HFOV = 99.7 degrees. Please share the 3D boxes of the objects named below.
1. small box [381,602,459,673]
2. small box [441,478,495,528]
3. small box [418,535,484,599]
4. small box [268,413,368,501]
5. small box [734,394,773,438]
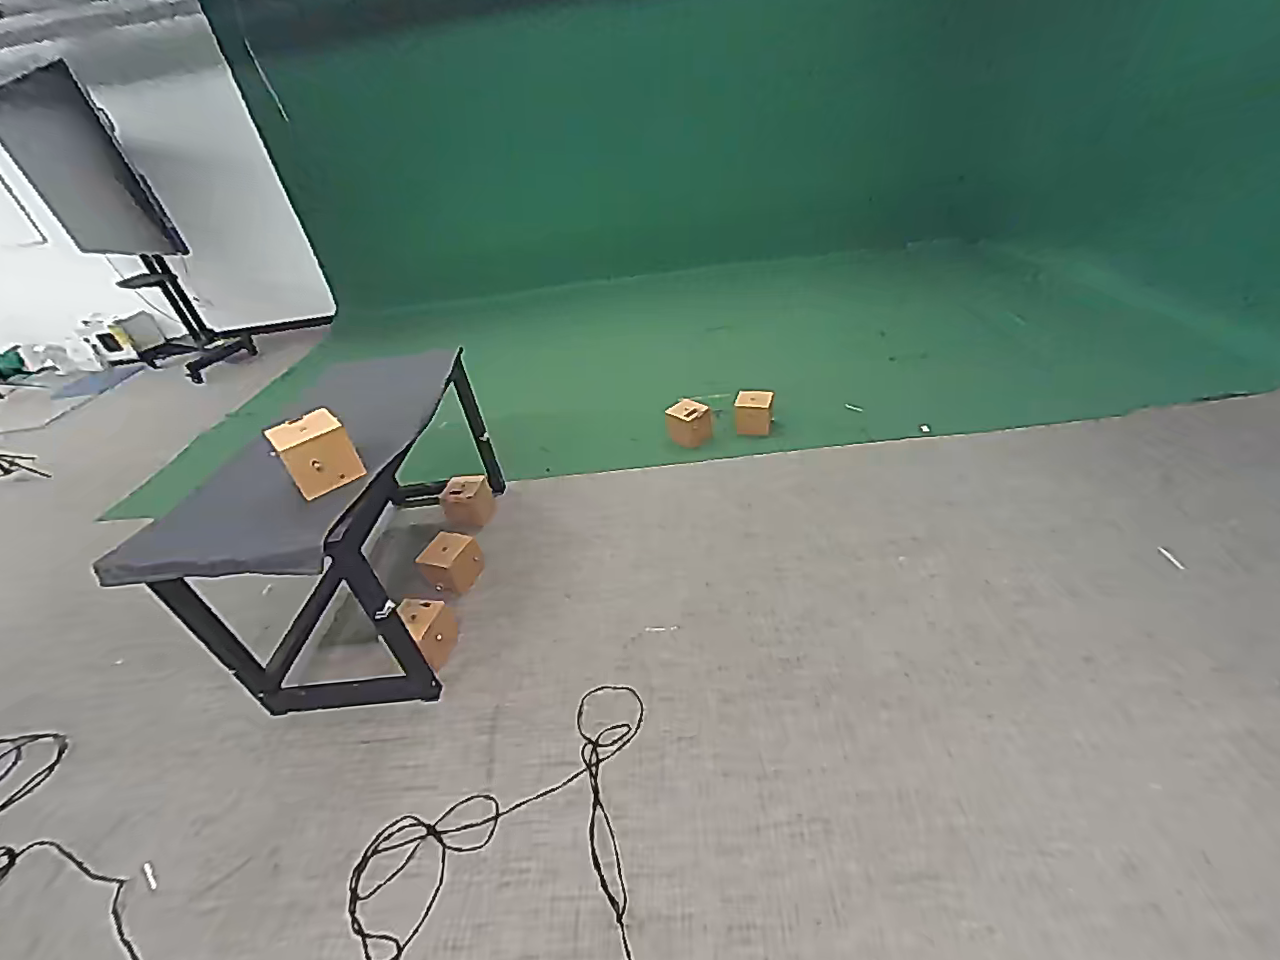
[{"bbox_3d":[-0.762,0.554,1.898,0.168,0.176,0.179,1,38,14],"label":"small box"},{"bbox_3d":[-0.790,0.113,2.507,0.168,0.176,0.179,-3,35,8],"label":"small box"},{"bbox_3d":[-0.750,0.348,2.177,0.168,0.176,0.179,6,40,21],"label":"small box"},{"bbox_3d":[-0.905,-0.062,1.529,0.168,0.176,0.179,-33,42,-29],"label":"small box"},{"bbox_3d":[0.592,-0.333,2.811,0.179,0.176,0.168,6,39,19],"label":"small box"}]
